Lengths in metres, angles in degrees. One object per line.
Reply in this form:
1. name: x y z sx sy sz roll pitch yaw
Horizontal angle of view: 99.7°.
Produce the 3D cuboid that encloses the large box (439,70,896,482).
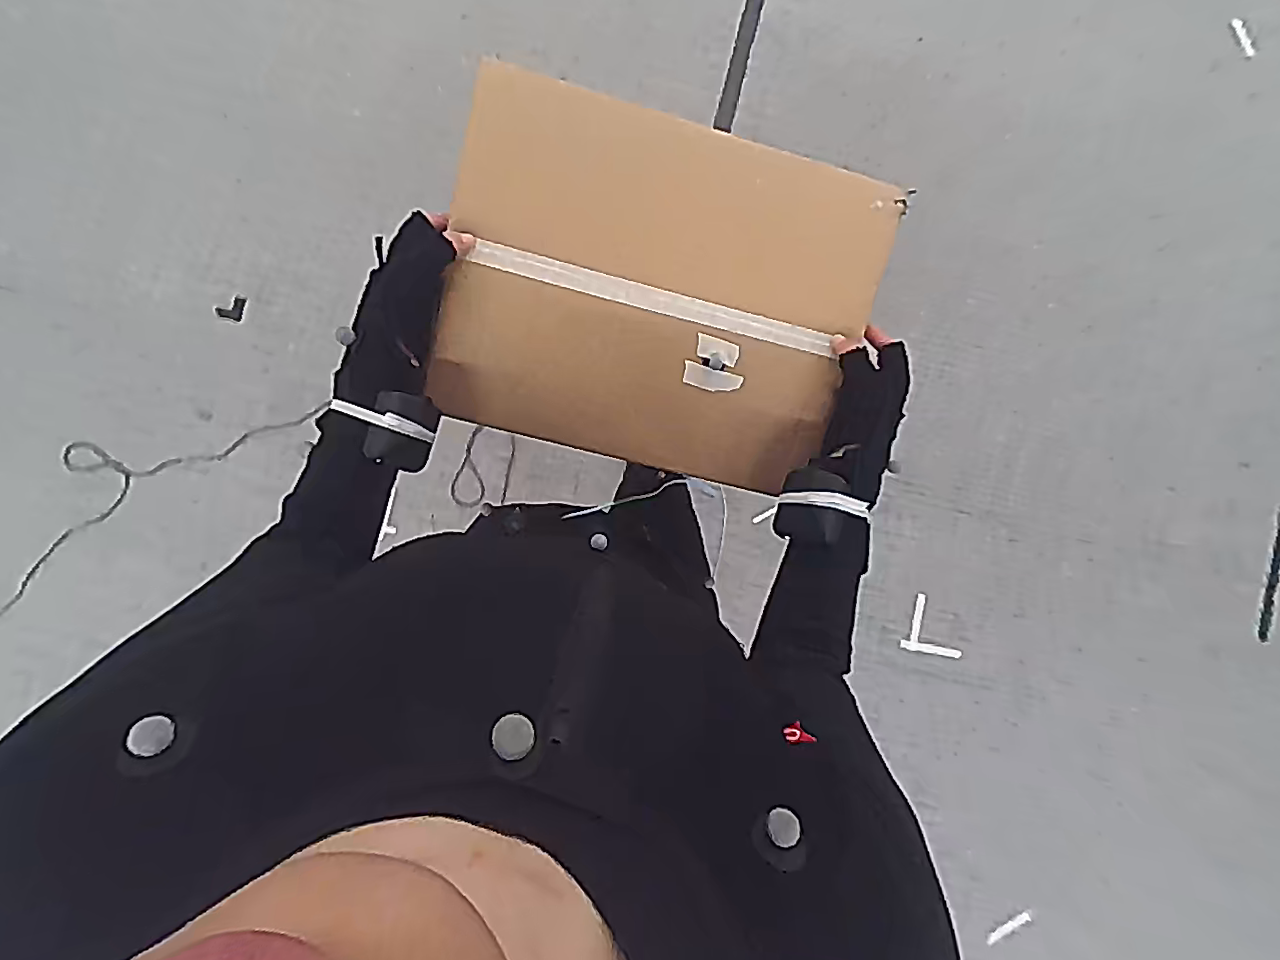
1. large box: 0.014 -0.211 0.676 0.408 0.320 0.320 13 100 -6
